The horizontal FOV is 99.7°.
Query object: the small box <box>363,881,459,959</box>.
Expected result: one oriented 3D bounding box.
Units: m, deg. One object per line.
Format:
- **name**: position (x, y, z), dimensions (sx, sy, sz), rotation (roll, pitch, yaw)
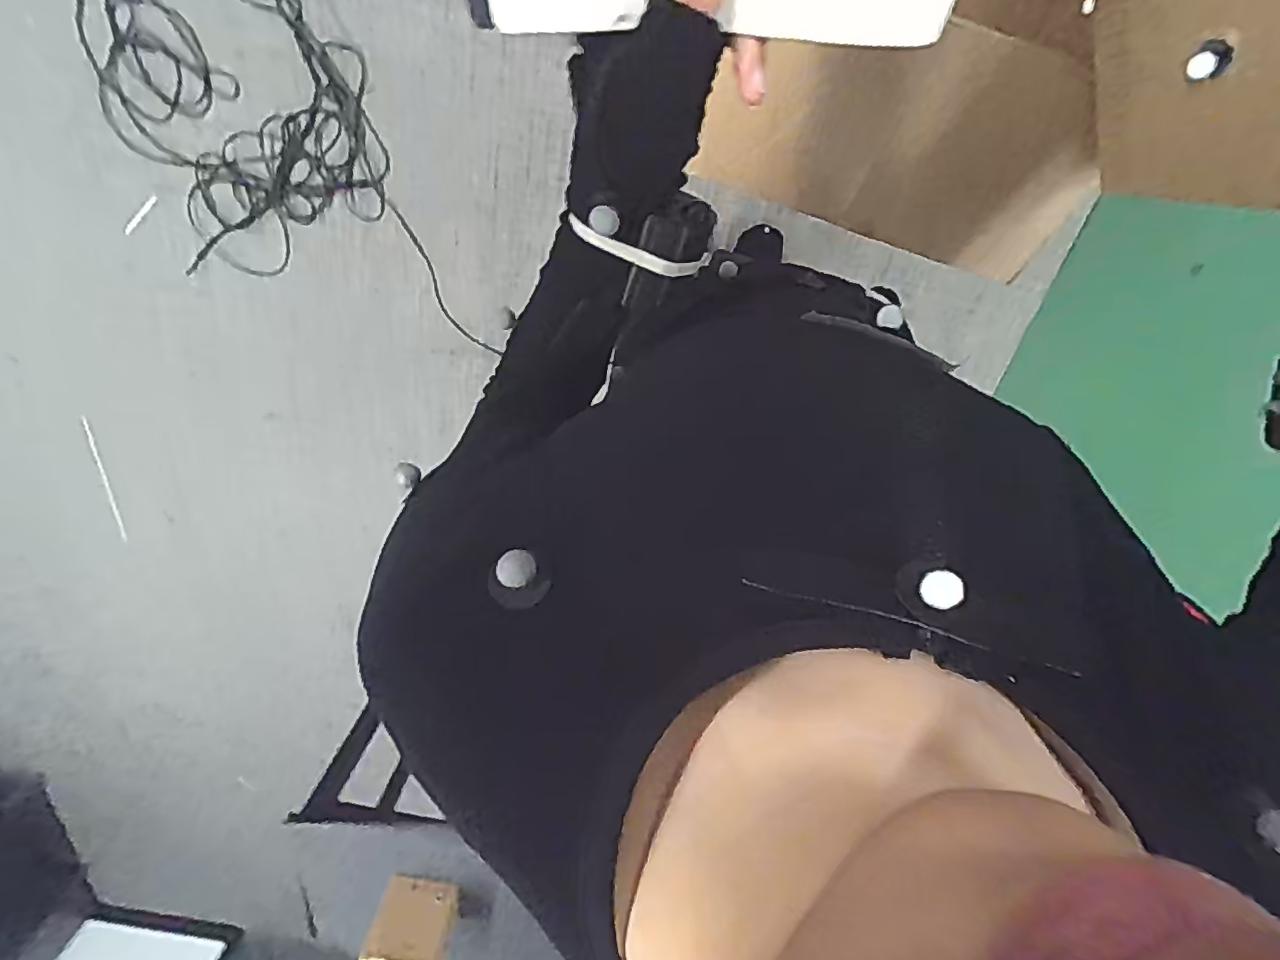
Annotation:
- **small box**: position (-0.544, 1.103, 1.300), dimensions (0.168, 0.176, 0.179), rotation (11, 119, -1)
